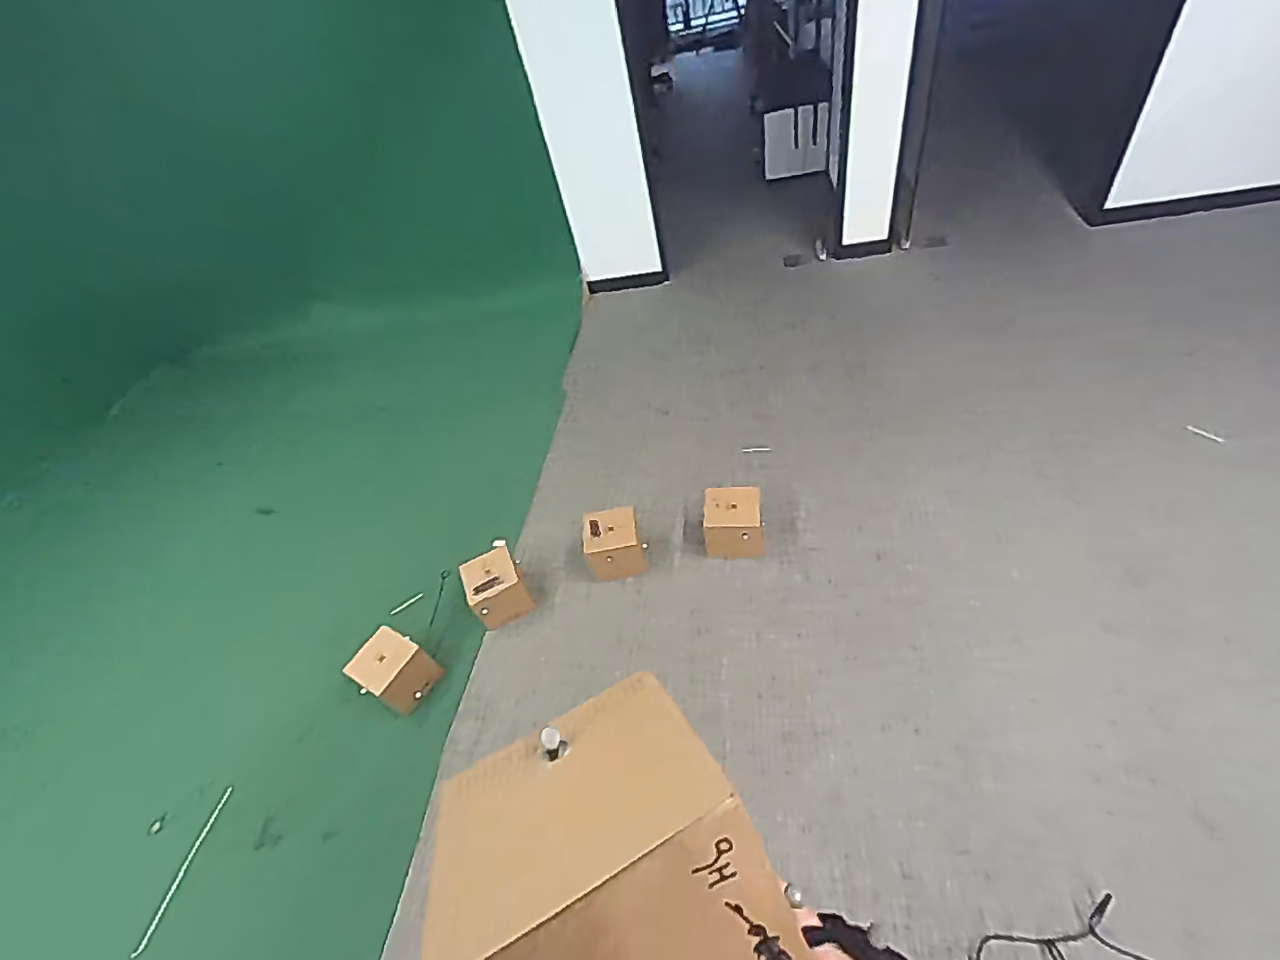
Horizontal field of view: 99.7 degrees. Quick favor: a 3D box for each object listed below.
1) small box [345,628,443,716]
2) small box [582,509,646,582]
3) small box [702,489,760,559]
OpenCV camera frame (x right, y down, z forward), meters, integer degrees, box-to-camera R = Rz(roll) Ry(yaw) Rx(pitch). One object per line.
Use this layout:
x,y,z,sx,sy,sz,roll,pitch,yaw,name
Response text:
-0.741,0.588,1.644,0.179,0.176,0.168,17,54,29,small box
-0.086,0.224,1.808,0.179,0.176,0.168,-11,45,4,small box
0.303,0.148,1.773,0.179,0.176,0.168,-2,46,13,small box
